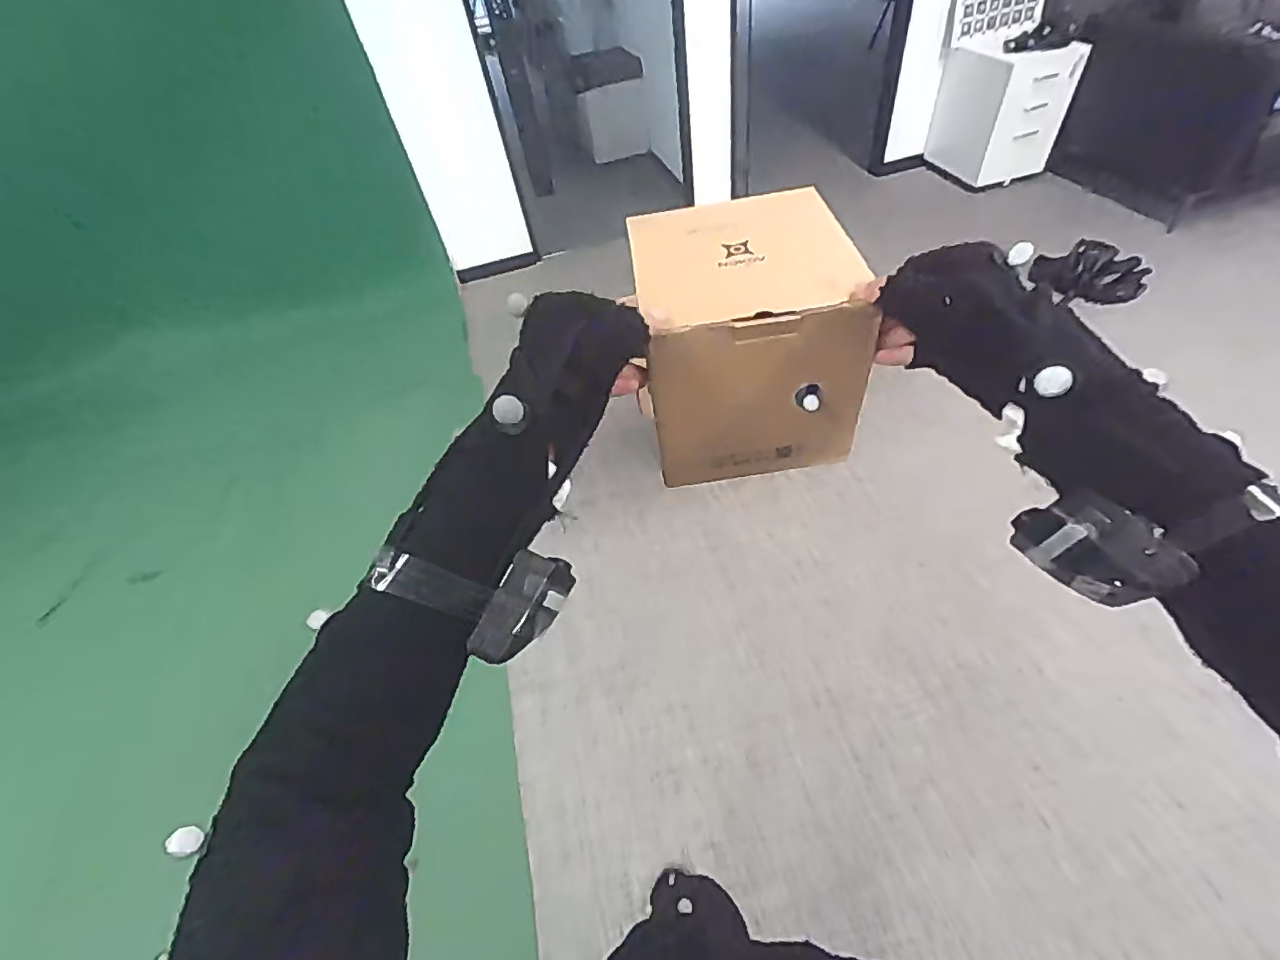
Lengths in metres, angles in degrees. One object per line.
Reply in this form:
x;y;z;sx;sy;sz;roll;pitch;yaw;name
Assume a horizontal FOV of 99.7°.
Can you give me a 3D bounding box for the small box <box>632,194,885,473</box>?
0.089;-0.120;0.477;0.168;0.176;0.179;-8;48;1;small box
